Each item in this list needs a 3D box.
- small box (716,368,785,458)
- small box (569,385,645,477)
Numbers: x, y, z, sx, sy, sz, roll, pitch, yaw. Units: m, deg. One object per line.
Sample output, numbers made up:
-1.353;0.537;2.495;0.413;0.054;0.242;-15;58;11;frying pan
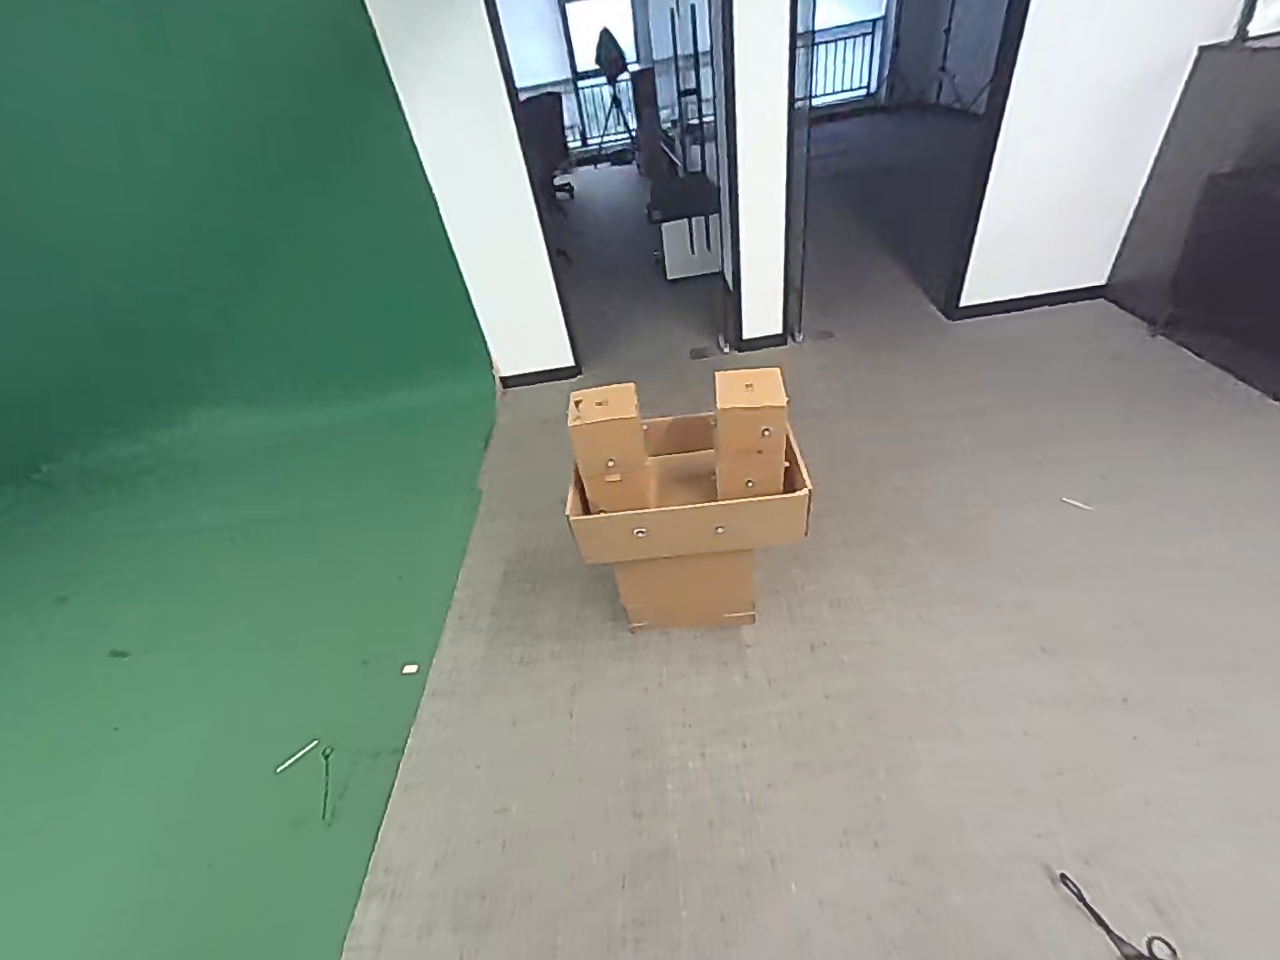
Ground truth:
0.282;-0.166;1.386;0.168;0.176;0.179;-2;39;9;small box
-0.080;-0.127;1.428;0.179;0.176;0.168;-7;39;4;small box
